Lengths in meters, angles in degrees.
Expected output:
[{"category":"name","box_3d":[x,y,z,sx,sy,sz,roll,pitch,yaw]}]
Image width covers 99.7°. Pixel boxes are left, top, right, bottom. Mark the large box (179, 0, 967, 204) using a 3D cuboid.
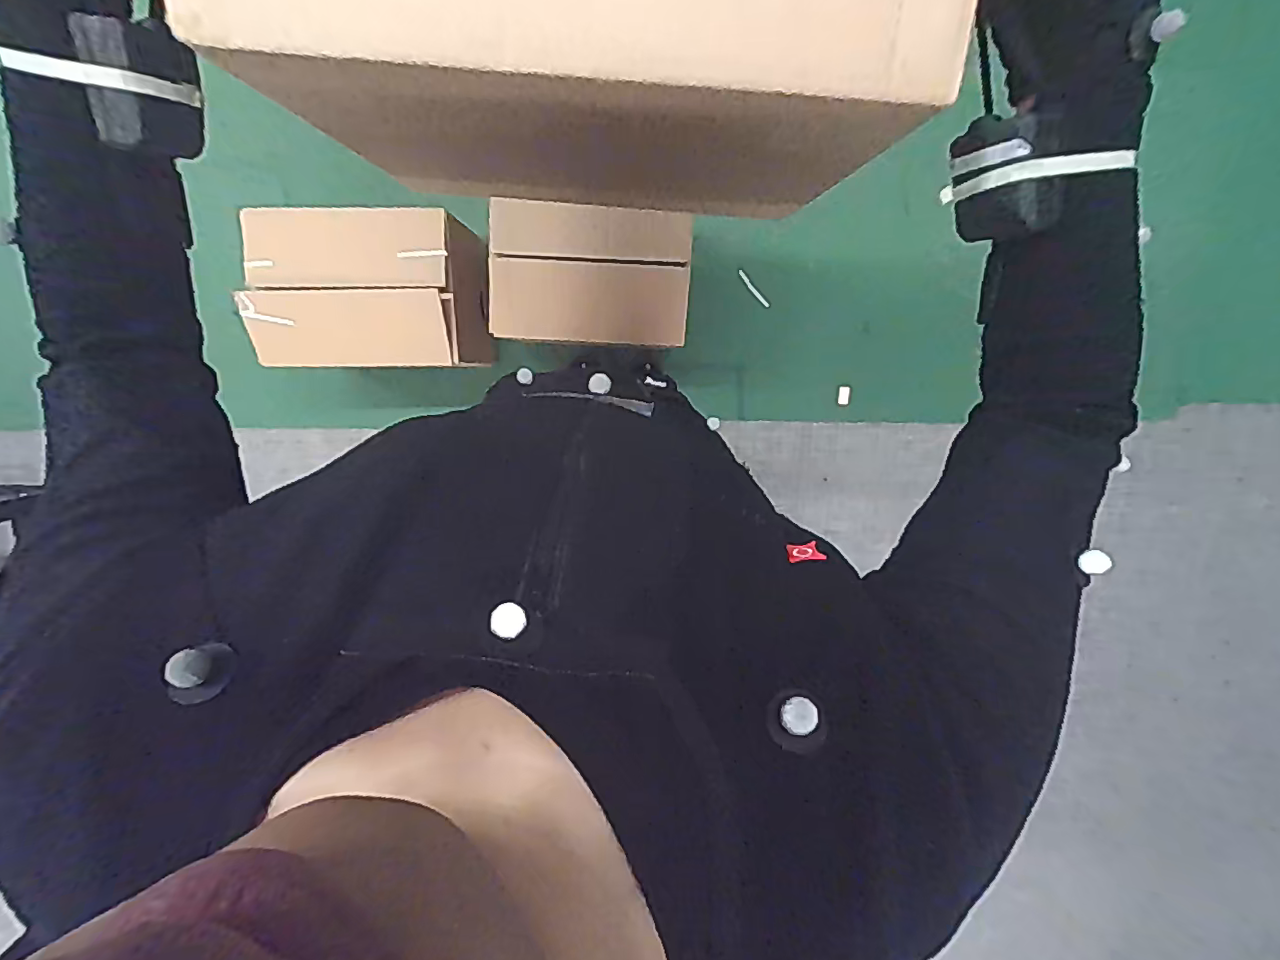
[{"category":"large box","box_3d":[-0.032,-0.403,0.382,0.408,0.320,0.320,2,107,-4]}]
